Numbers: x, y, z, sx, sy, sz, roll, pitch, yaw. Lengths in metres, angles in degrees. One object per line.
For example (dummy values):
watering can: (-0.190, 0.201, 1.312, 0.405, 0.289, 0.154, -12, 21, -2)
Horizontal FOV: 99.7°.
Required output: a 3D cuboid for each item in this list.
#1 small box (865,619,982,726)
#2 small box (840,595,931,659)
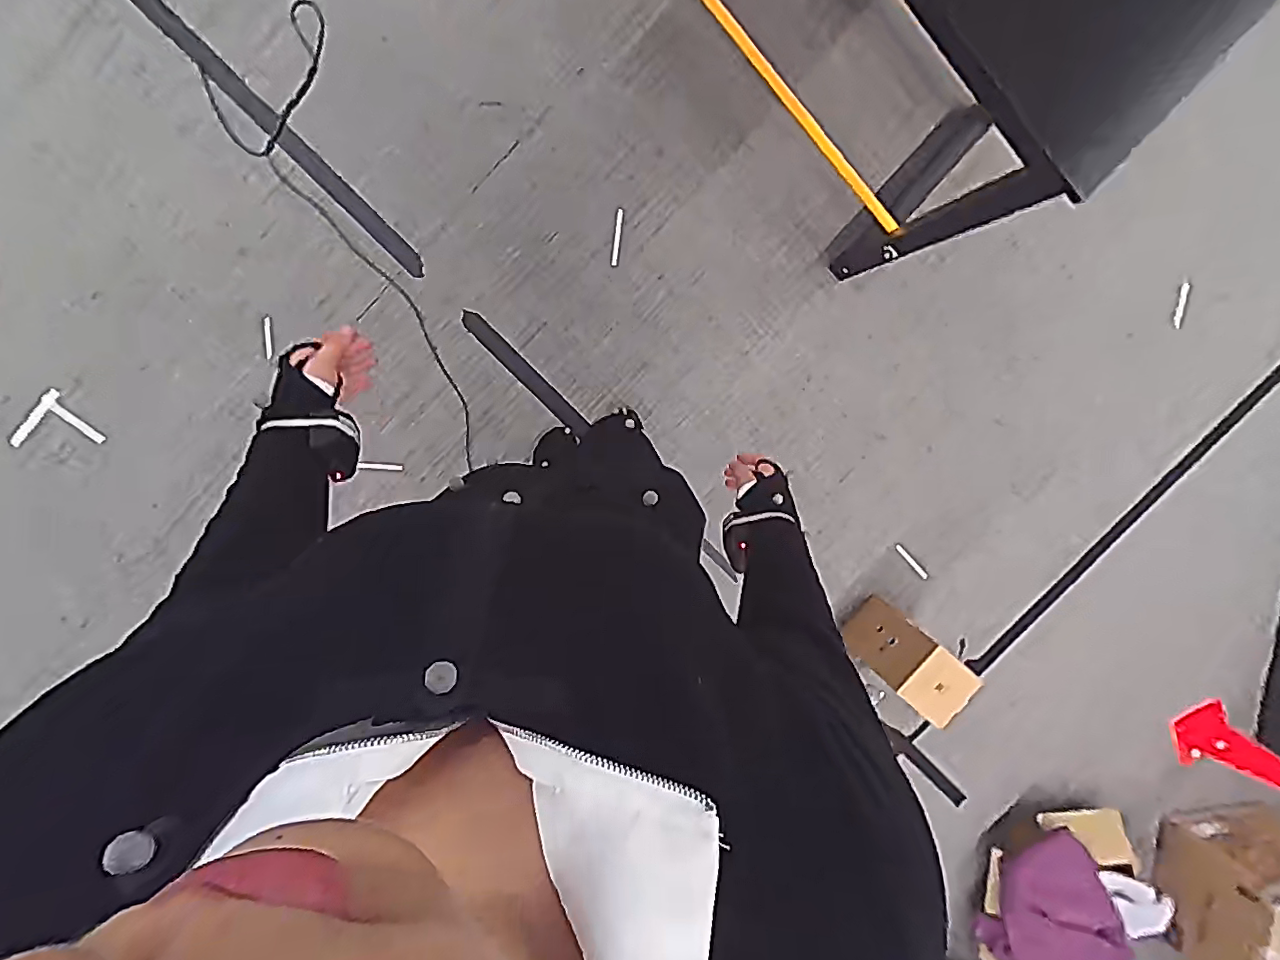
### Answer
small box: (0.741, 0.500, 1.432, 0.179, 0.176, 0.168, 40, 93, -10)
small box: (0.729, 0.469, 1.591, 0.168, 0.176, 0.179, 42, 94, -11)
